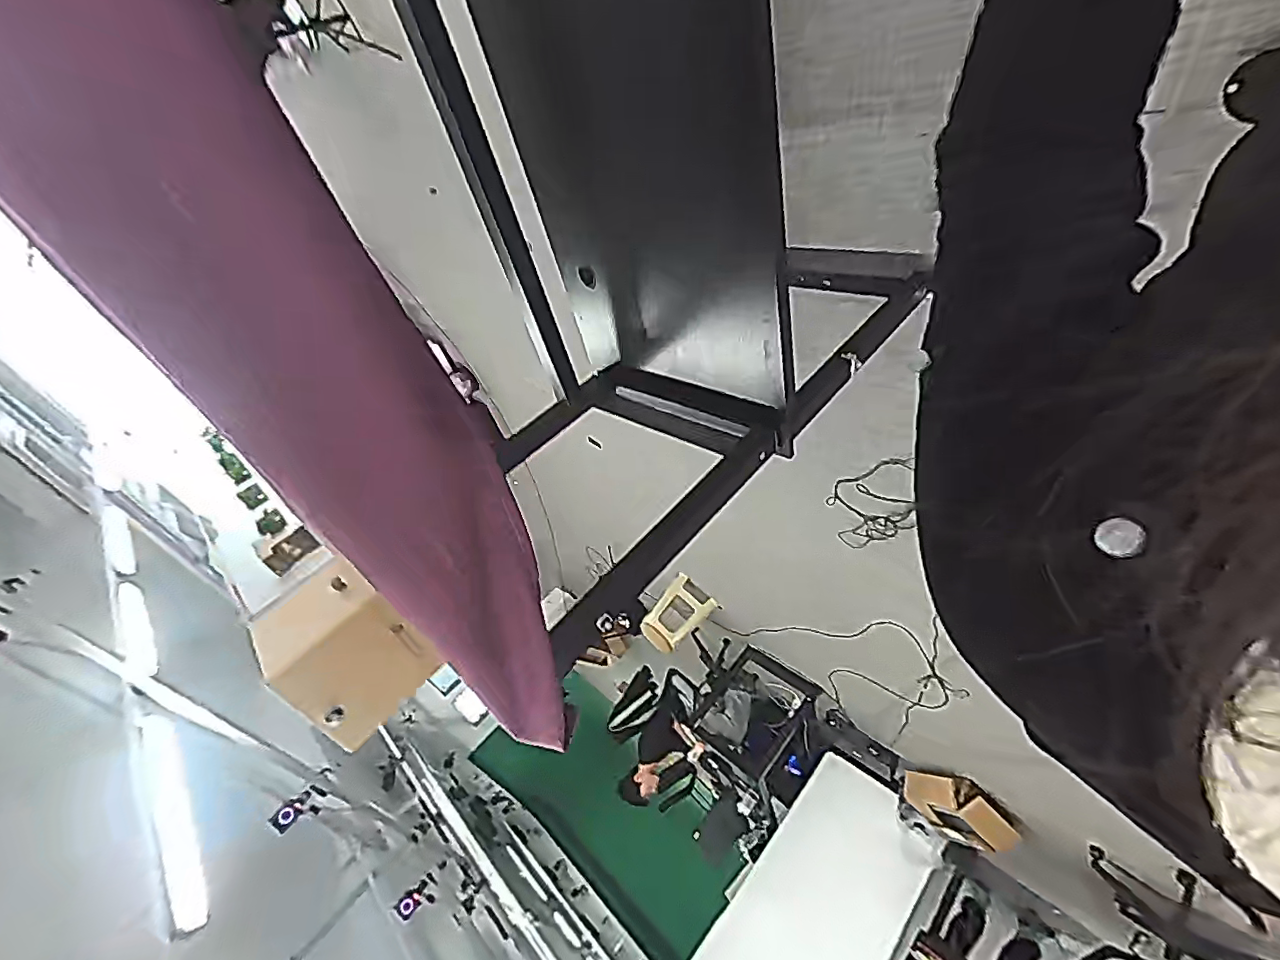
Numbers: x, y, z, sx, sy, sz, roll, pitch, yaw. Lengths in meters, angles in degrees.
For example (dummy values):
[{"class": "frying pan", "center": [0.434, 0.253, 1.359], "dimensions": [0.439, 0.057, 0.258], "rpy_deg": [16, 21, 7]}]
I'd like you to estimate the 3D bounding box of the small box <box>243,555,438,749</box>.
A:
[{"class": "small box", "center": [-0.424, 0.234, 0.779], "dimensions": [0.179, 0.176, 0.168], "rpy_deg": [19, 143, 47]}]
